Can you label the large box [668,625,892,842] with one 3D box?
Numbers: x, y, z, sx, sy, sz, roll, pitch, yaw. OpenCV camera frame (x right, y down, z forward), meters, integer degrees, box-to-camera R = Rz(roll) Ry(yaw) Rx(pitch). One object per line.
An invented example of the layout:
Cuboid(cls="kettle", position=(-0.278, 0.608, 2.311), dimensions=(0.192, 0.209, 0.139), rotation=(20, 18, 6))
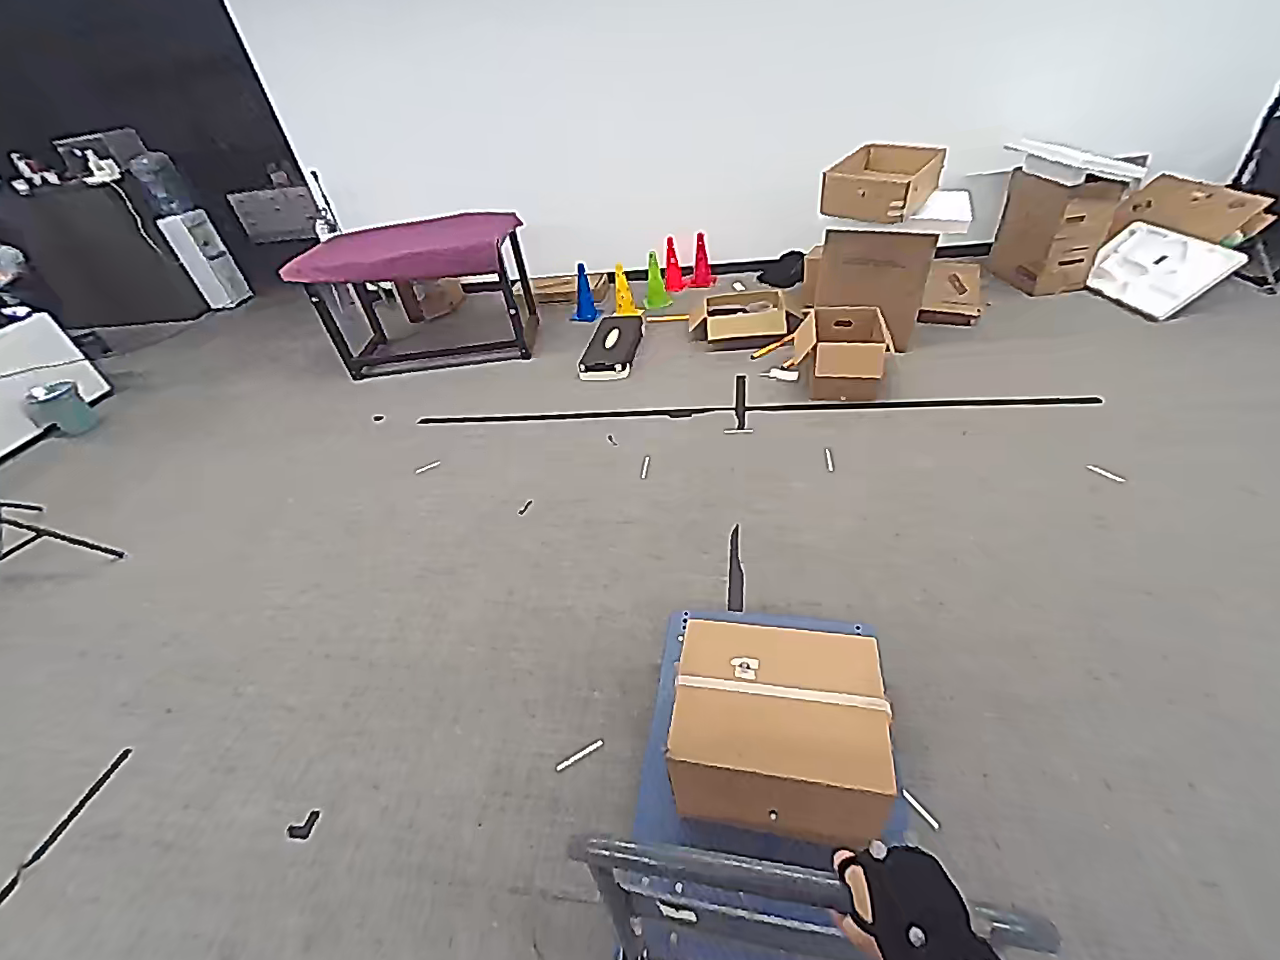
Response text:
Cuboid(cls="large box", position=(0.294, 0.548, 1.185), dimensions=(0.408, 0.320, 0.320), rotation=(1, 40, 14))
